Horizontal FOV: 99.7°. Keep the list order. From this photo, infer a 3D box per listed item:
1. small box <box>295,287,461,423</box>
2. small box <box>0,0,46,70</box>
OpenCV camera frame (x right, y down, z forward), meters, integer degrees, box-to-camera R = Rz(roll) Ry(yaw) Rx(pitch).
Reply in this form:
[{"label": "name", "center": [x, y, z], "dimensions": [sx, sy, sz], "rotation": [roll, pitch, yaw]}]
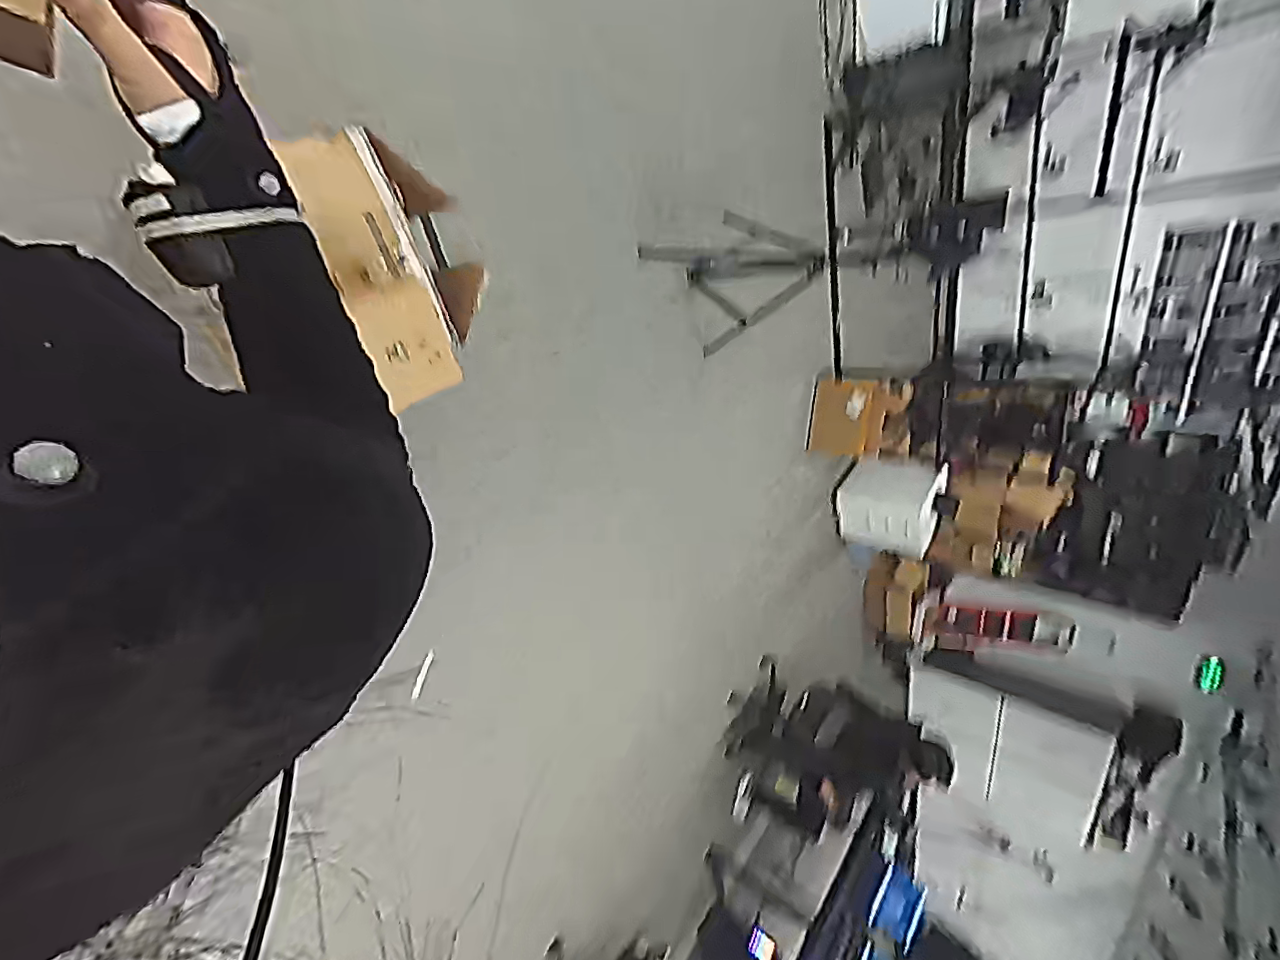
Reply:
[{"label": "small box", "center": [-0.440, -0.213, 0.901], "dimensions": [0.179, 0.176, 0.168], "rotation": [-37, 127, -34]}, {"label": "small box", "center": [-0.405, -0.341, 0.254], "dimensions": [0.168, 0.176, 0.179], "rotation": [-2, 110, -46]}]
